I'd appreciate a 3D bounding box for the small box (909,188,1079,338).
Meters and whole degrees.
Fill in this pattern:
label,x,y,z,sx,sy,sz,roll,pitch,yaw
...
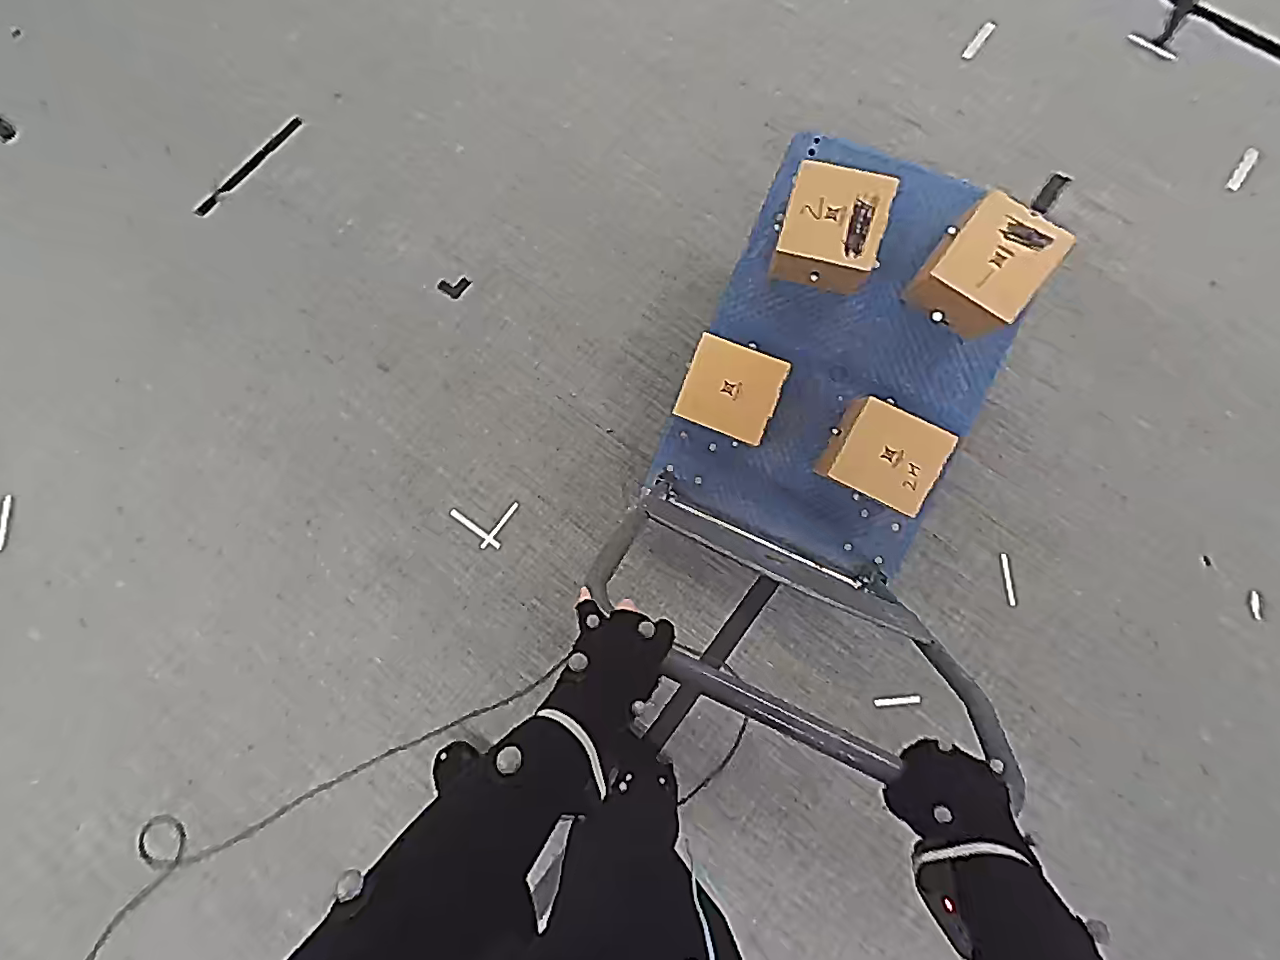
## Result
label,x,y,z,sx,sy,sz,roll,pitch,yaw
small box,0.642,-0.391,1.009,0.168,0.176,0.179,36,99,4

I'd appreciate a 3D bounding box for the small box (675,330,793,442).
label,x,y,z,sx,sy,sz,roll,pitch,yaw
small box,0.184,-0.181,1.089,0.179,0.176,0.168,22,97,5

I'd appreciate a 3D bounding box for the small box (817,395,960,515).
label,x,y,z,sx,sy,sz,roll,pitch,yaw
small box,0.470,-0.049,1.057,0.179,0.176,0.168,28,98,6
